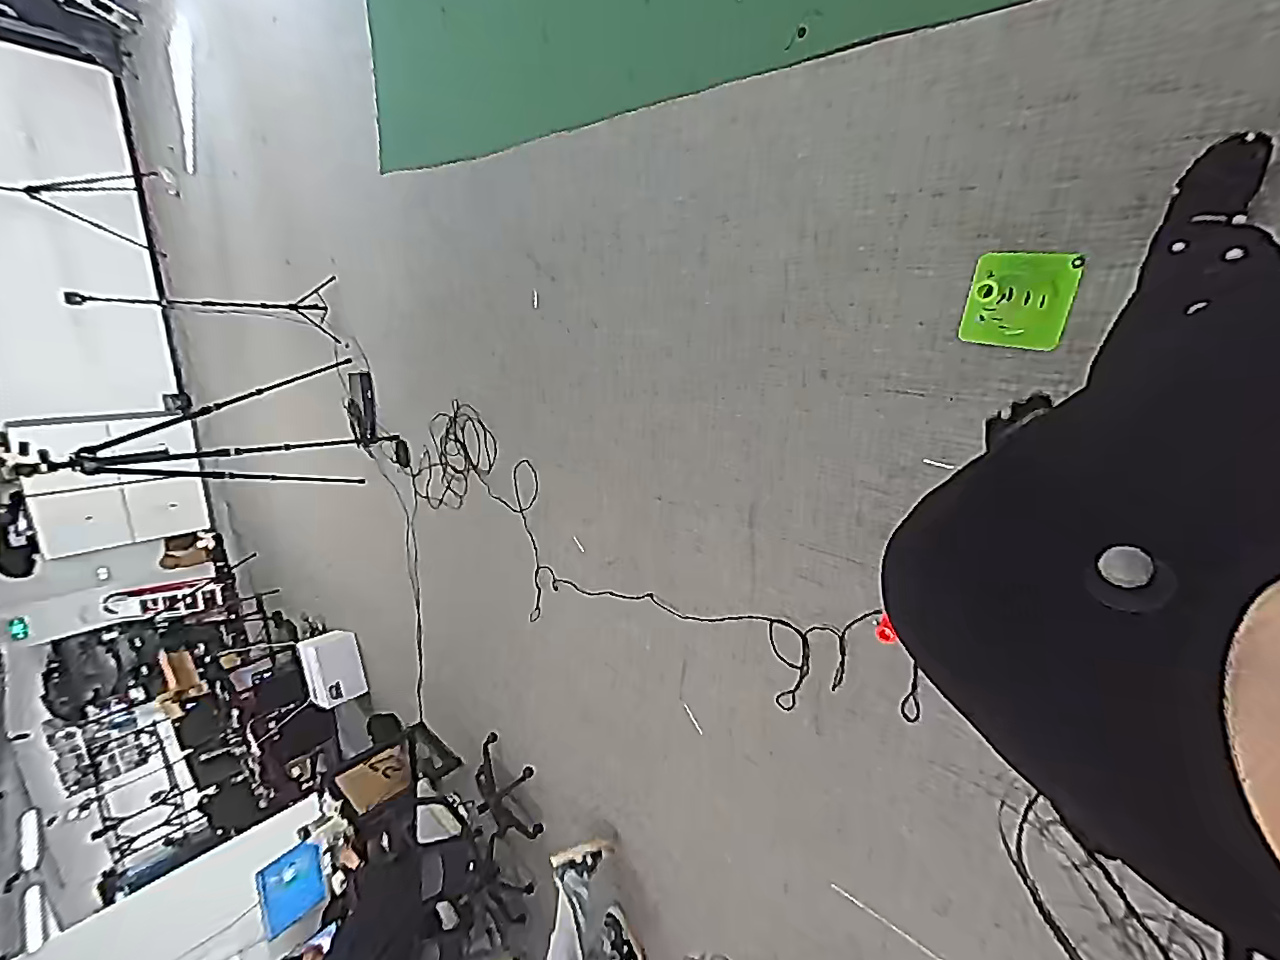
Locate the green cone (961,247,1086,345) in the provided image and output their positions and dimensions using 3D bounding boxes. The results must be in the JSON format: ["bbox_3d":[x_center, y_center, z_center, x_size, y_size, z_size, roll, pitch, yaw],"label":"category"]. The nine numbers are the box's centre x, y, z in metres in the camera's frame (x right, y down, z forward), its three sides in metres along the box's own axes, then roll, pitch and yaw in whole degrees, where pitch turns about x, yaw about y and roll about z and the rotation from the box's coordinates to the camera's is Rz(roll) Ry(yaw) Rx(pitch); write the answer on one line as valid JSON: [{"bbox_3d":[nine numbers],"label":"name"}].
[{"bbox_3d":[0.735,-0.378,1.090,0.200,0.368,0.202,20,115,39],"label":"green cone"}]
